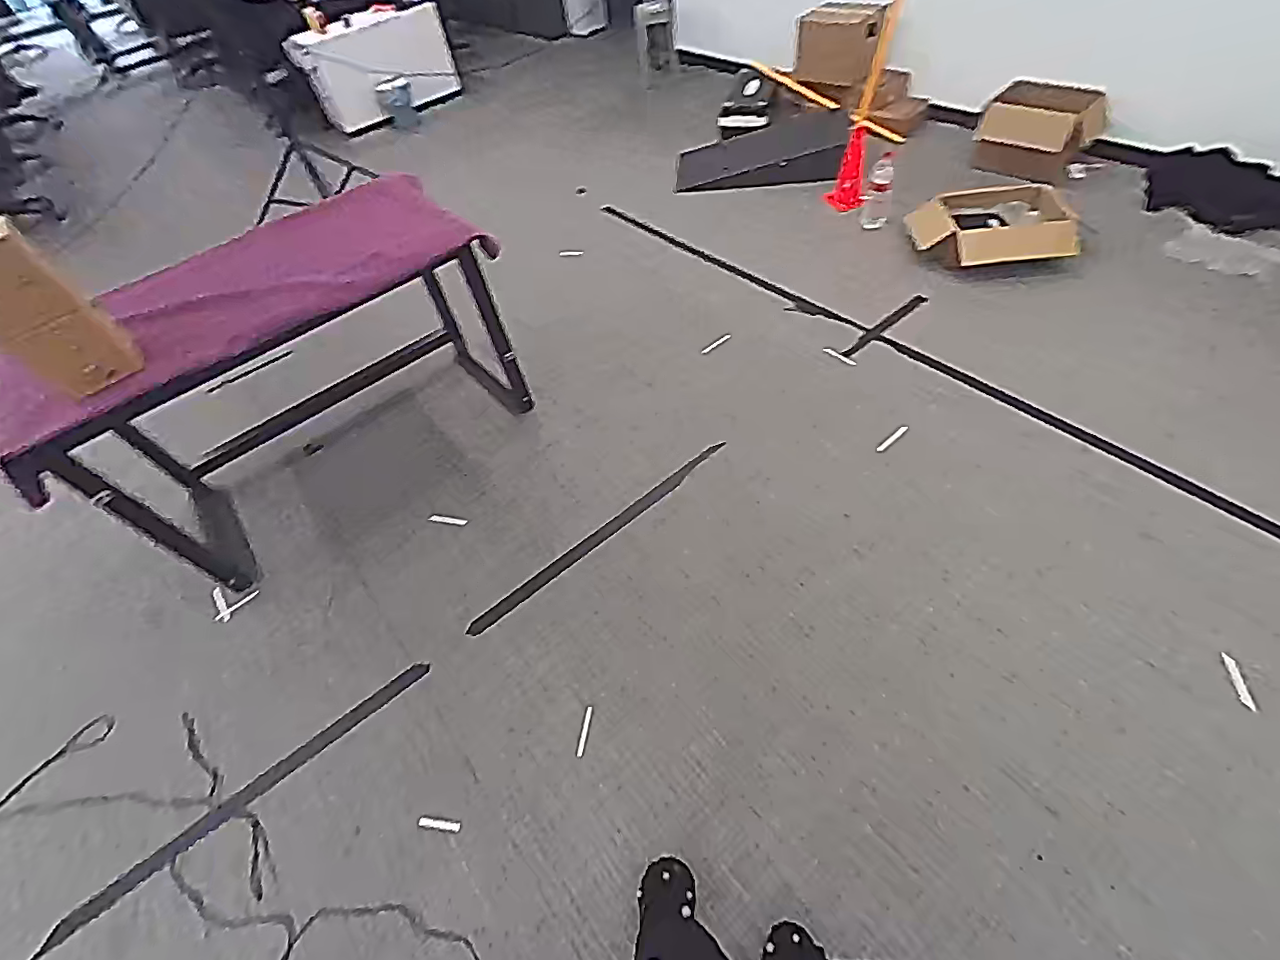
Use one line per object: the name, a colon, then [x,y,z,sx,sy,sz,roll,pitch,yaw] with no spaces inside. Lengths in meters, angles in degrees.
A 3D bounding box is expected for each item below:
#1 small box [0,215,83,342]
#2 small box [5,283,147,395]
small box: [-1.355,-0.430,1.156,0.179,0.176,0.168,-40,55,-20]
small box: [-1.334,-0.332,1.283,0.168,0.176,0.179,-39,57,-20]
